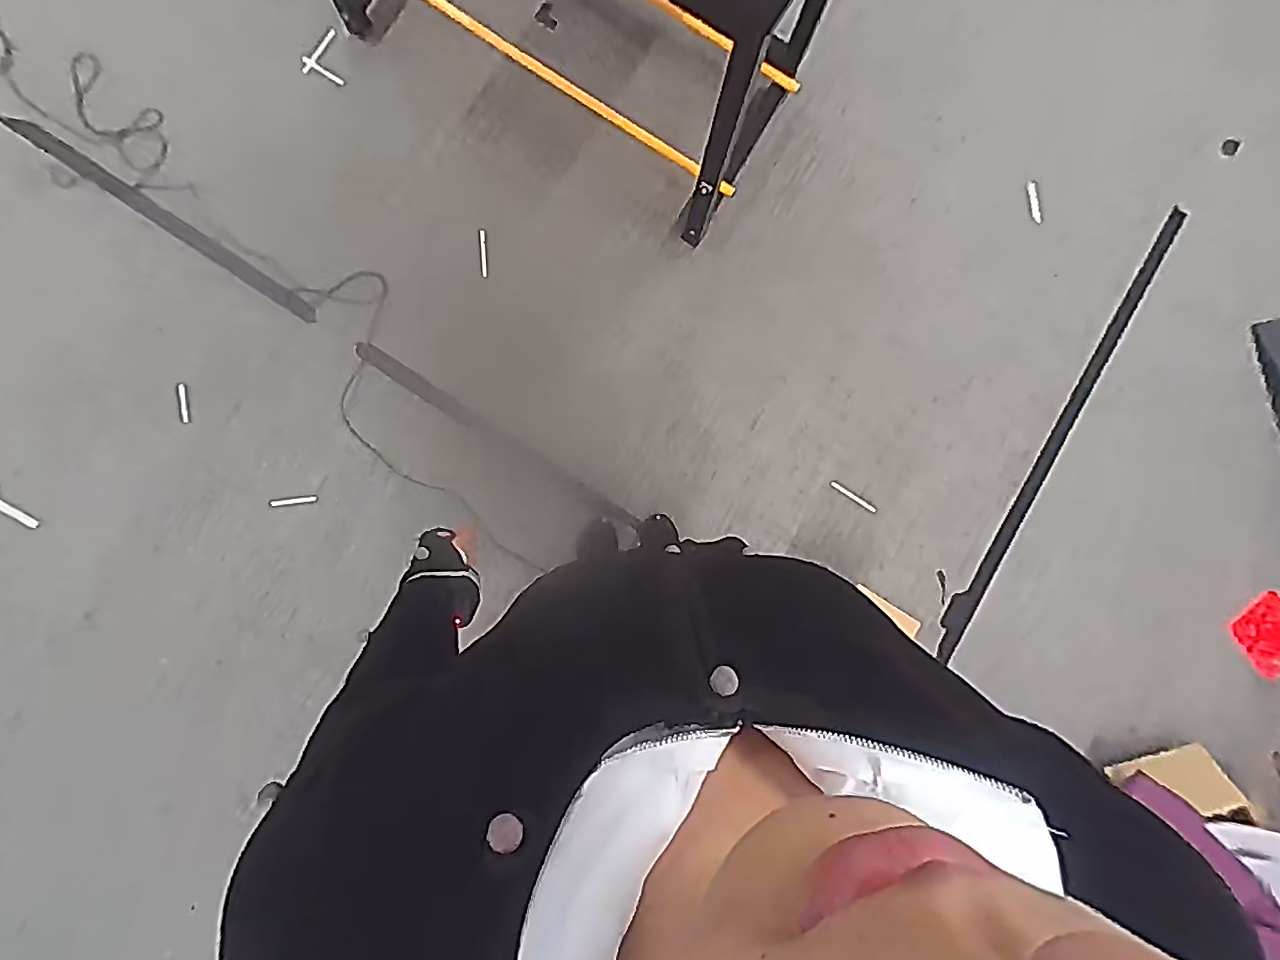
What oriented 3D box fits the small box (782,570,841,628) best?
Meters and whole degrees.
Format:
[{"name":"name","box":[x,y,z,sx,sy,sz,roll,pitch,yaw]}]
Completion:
[{"name":"small box","box":[0.513,0.355,1.451,0.179,0.176,0.168,32,84,0]}]
